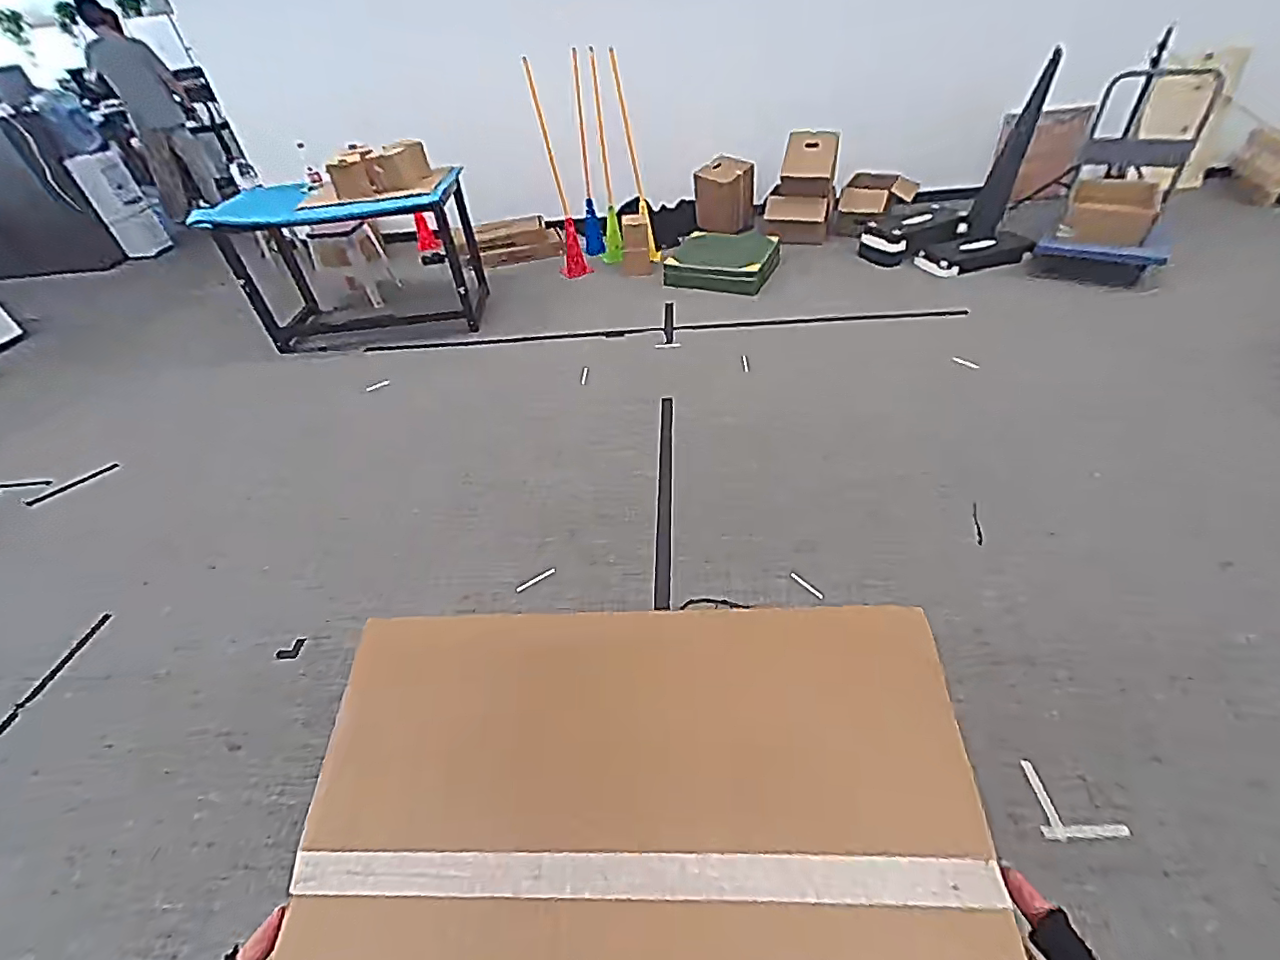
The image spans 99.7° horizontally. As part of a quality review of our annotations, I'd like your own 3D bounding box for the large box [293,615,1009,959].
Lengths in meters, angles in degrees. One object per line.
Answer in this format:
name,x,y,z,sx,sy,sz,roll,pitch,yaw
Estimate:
large box,0.011,0.317,0.442,0.408,0.320,0.320,-3,57,6
